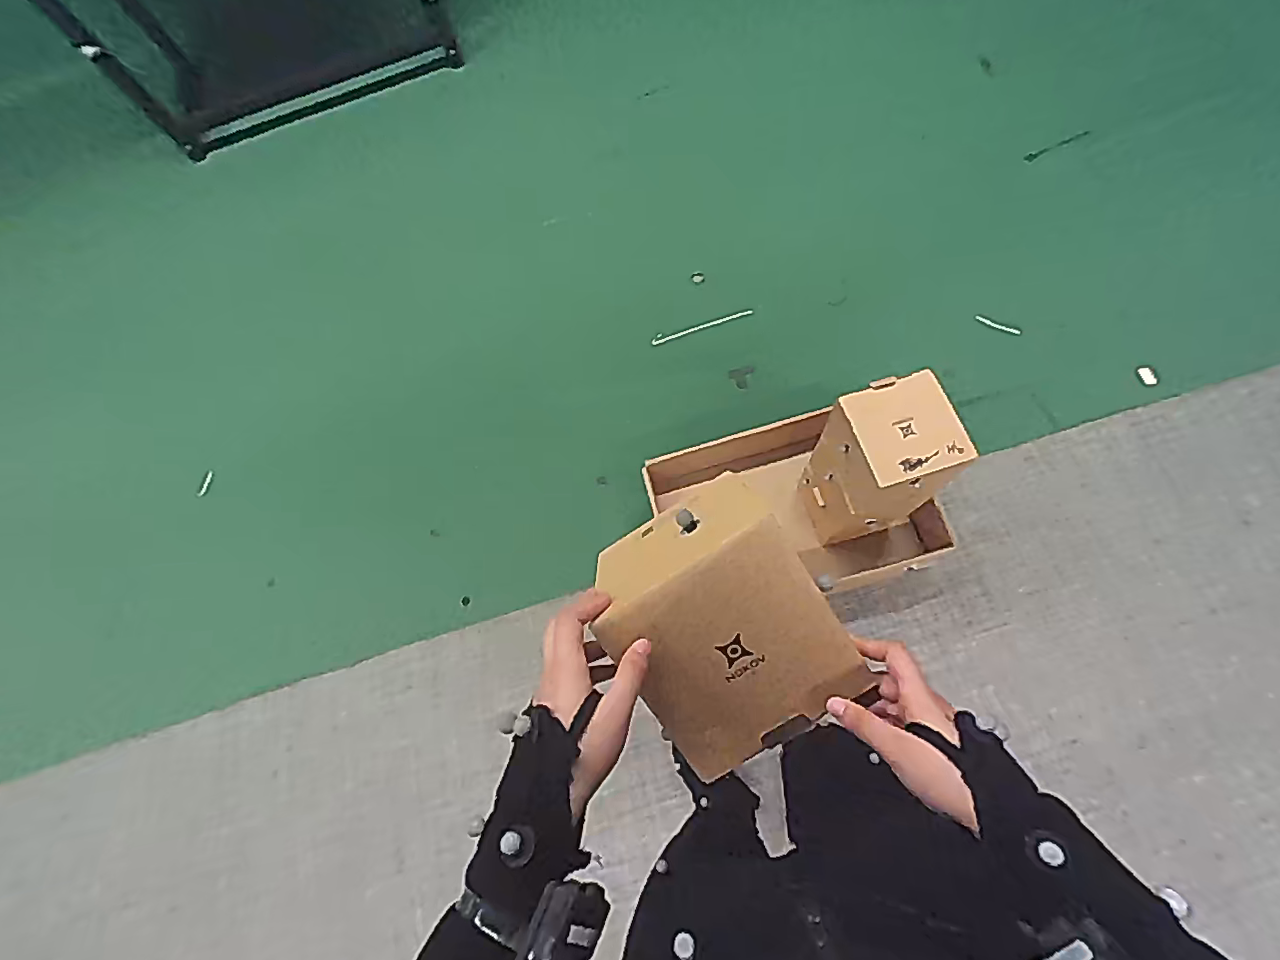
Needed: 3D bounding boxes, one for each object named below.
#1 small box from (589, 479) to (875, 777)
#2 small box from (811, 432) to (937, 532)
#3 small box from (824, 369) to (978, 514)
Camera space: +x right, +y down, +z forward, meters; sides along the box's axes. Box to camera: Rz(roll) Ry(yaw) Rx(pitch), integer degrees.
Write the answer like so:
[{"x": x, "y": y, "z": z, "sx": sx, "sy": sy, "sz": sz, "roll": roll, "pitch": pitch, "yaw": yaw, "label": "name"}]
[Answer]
[{"x": 0.069, "y": 0.114, "z": 0.496, "sx": 0.168, "sy": 0.176, "sz": 0.179, "roll": -34, "pitch": 101, "yaw": 5, "label": "small box"}, {"x": 0.468, "y": -0.008, "z": 1.115, "sx": 0.168, "sy": 0.176, "sz": 0.179, "roll": -15, "pitch": 70, "yaw": 3, "label": "small box"}, {"x": 0.446, "y": -0.062, "z": 0.961, "sx": 0.168, "sy": 0.176, "sz": 0.179, "roll": -18, "pitch": 68, "yaw": 2, "label": "small box"}]
